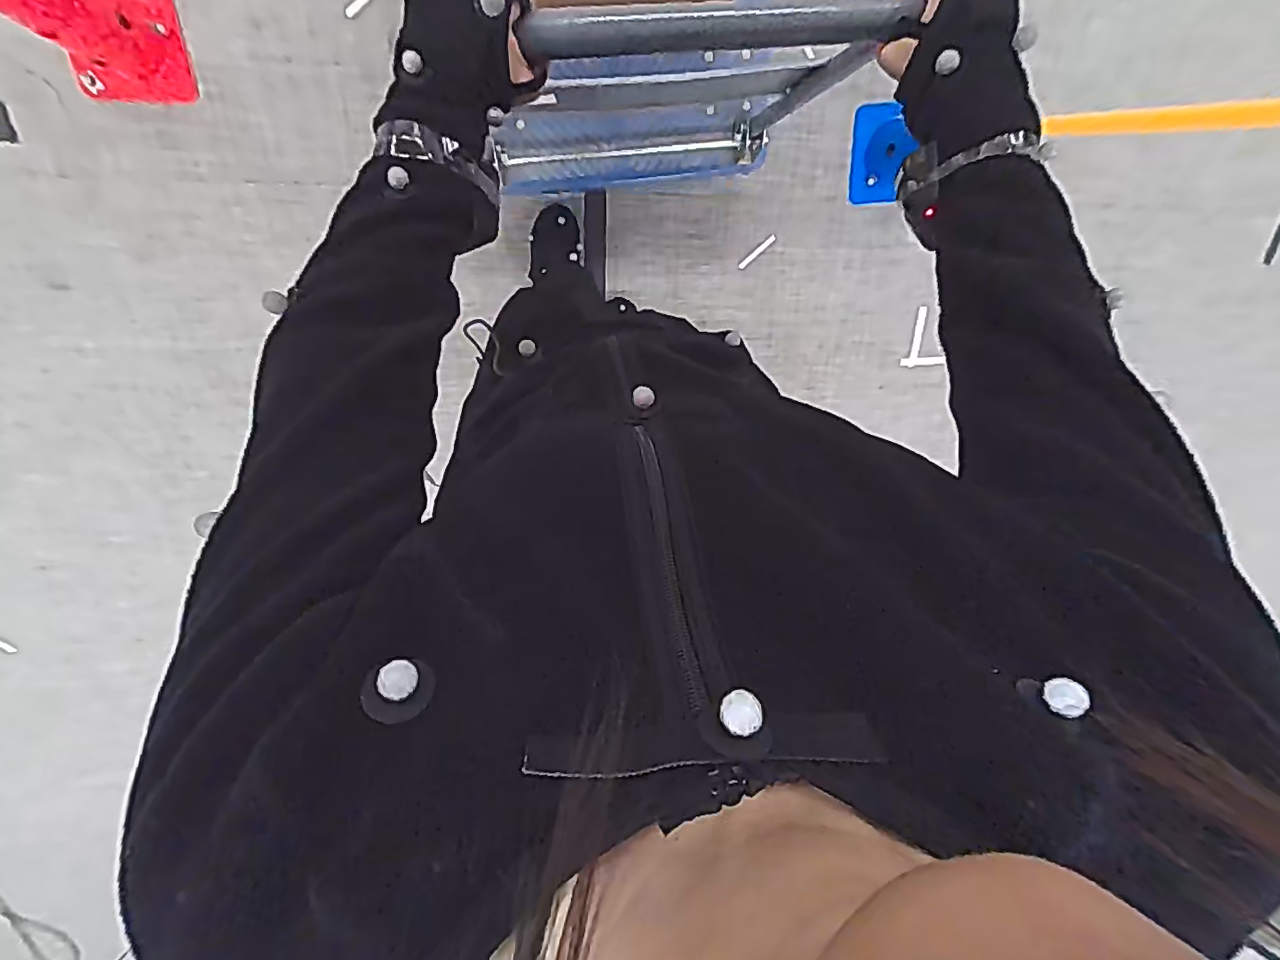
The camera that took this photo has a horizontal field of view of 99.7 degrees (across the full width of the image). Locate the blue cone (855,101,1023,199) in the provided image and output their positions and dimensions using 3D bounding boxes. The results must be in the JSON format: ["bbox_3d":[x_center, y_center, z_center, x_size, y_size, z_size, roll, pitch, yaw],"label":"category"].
[{"bbox_3d":[0.610,-0.686,1.090,0.193,0.380,0.192,-6,114,-7],"label":"blue cone"}]
